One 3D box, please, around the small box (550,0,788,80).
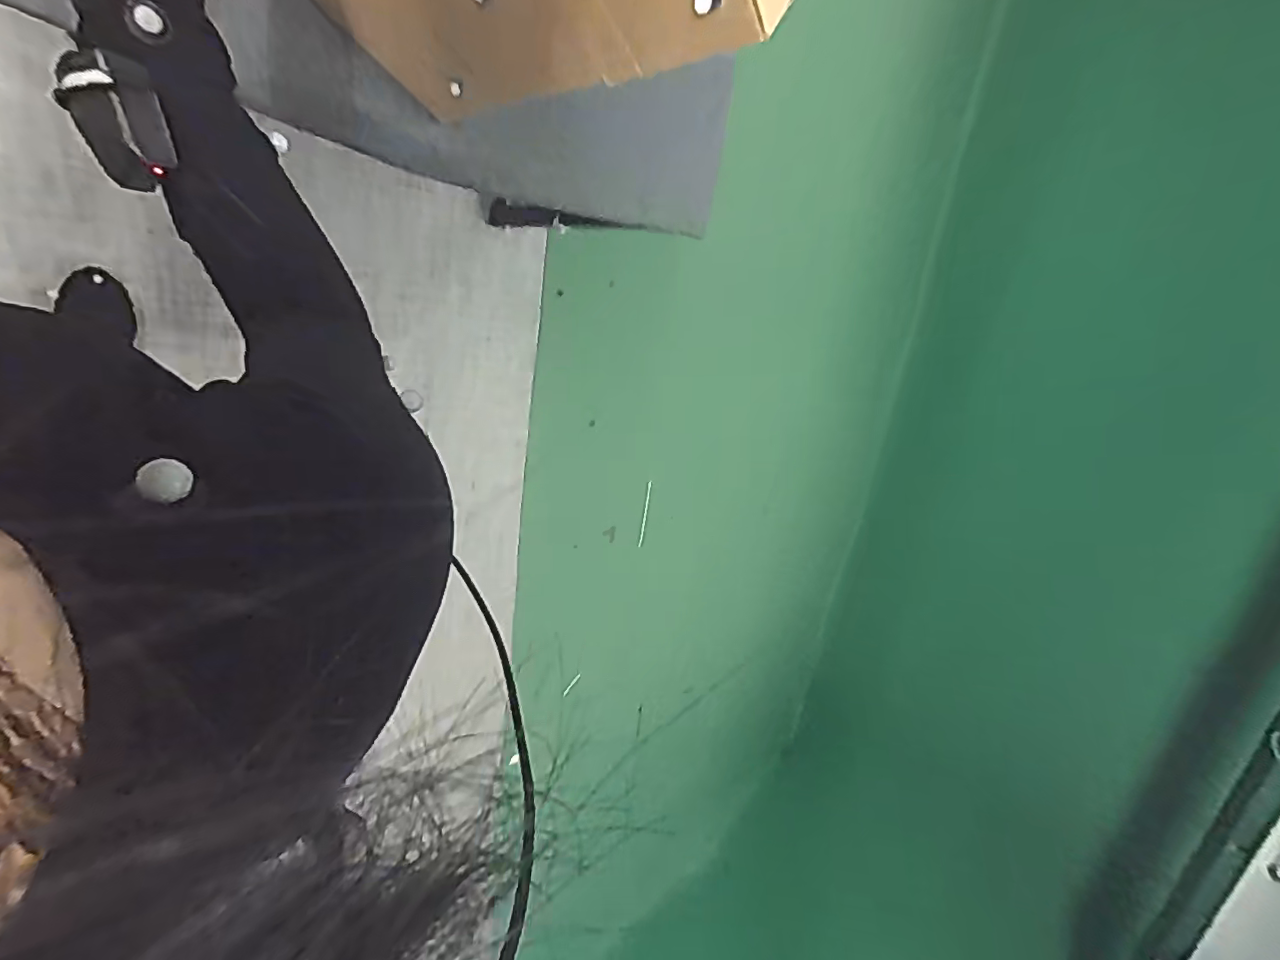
[{"bbox_3d":[0.018,-0.422,0.368,0.179,0.176,0.168,41,76,-49],"label":"small box"}]
